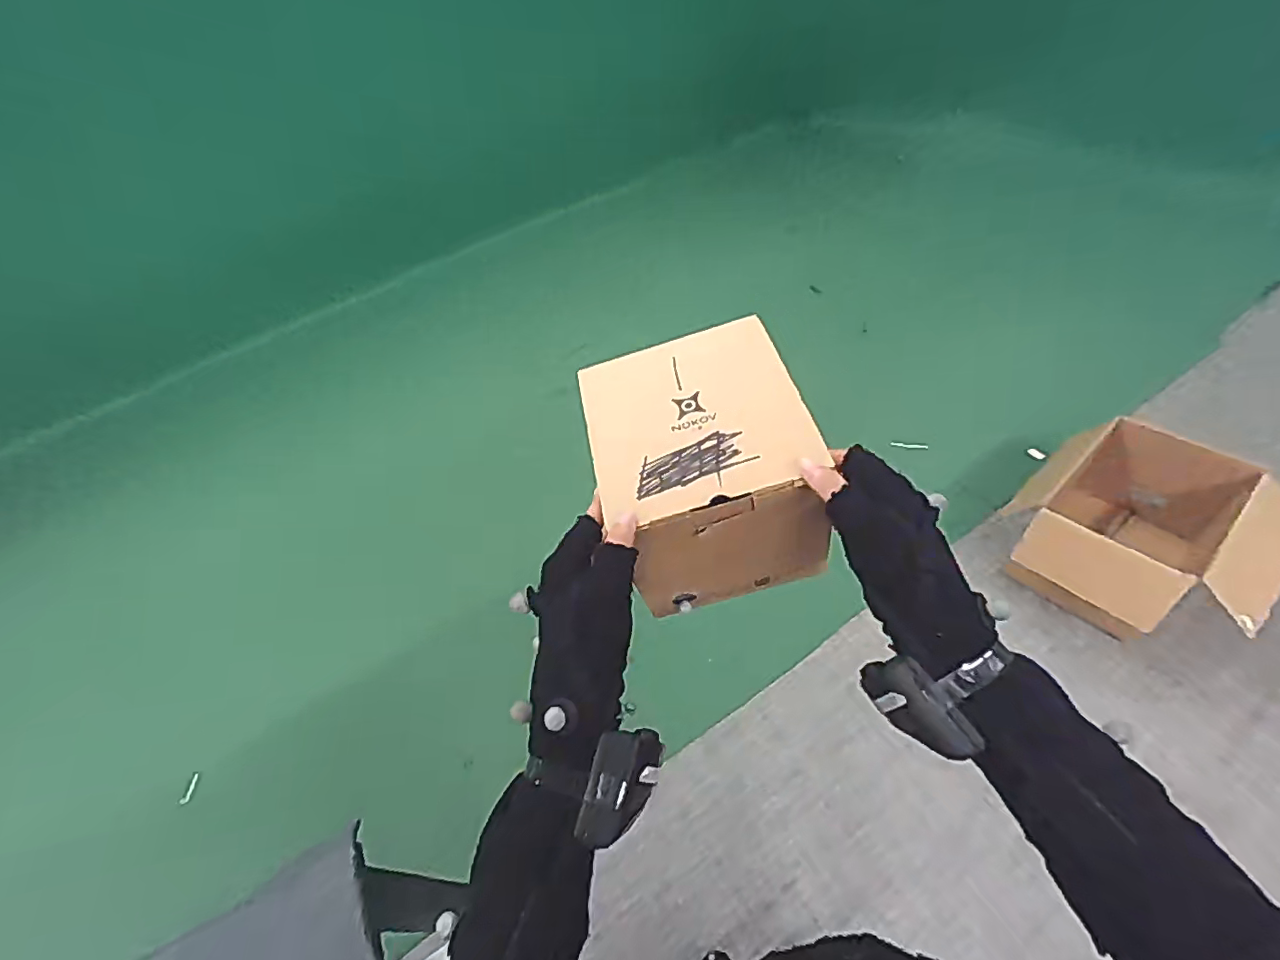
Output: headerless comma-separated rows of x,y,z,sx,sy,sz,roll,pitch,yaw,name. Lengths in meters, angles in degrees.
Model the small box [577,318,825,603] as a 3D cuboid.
0.056,-0.005,0.485,0.168,0.176,0.179,-17,53,5,small box
